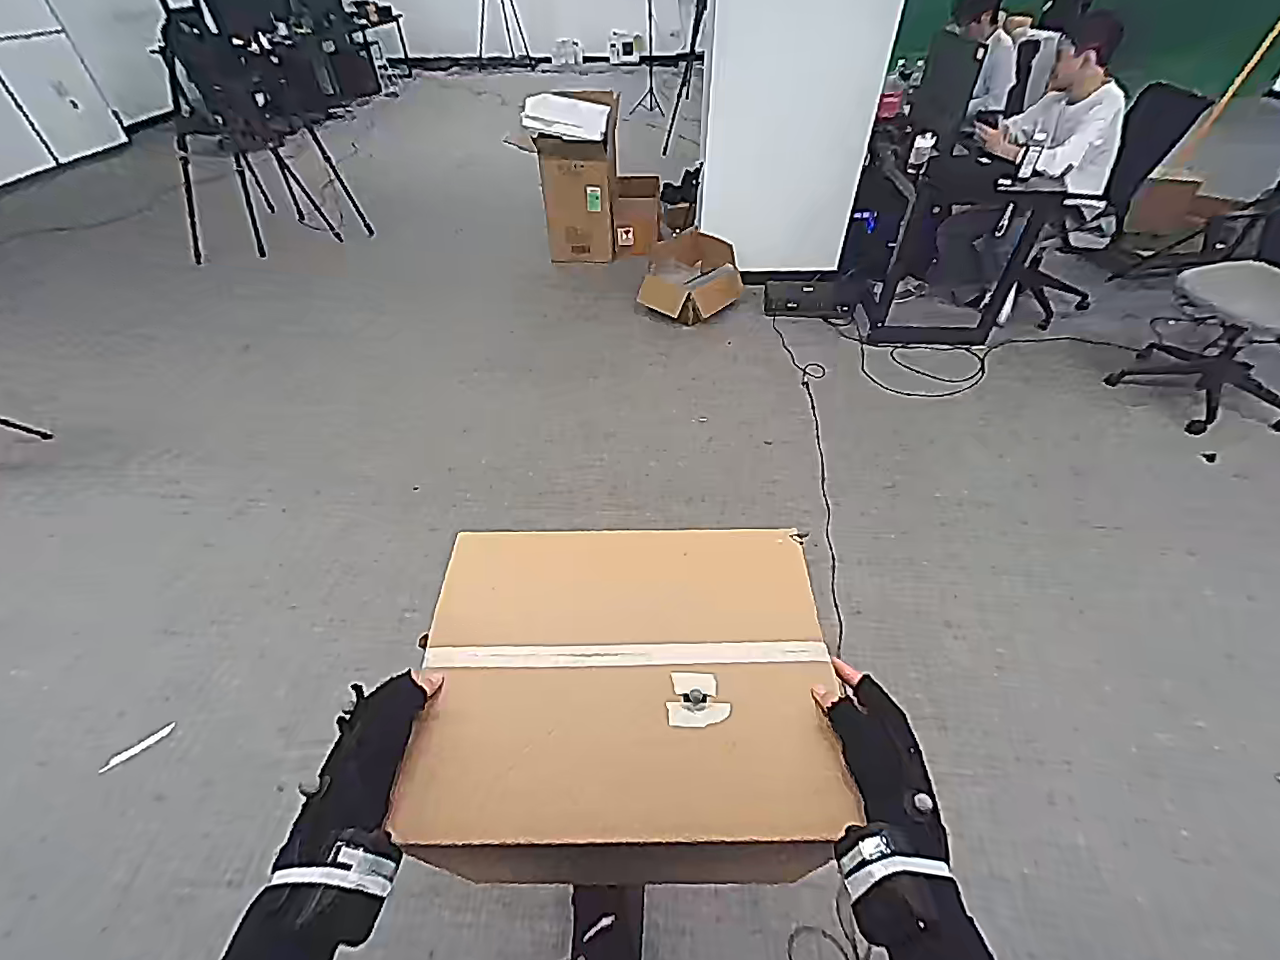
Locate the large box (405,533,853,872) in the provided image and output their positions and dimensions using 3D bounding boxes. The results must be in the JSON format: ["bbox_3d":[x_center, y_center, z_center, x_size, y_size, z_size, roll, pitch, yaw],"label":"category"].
[{"bbox_3d":[-0.013,0.281,0.679,0.408,0.320,0.320,0,49,0],"label":"large box"}]
